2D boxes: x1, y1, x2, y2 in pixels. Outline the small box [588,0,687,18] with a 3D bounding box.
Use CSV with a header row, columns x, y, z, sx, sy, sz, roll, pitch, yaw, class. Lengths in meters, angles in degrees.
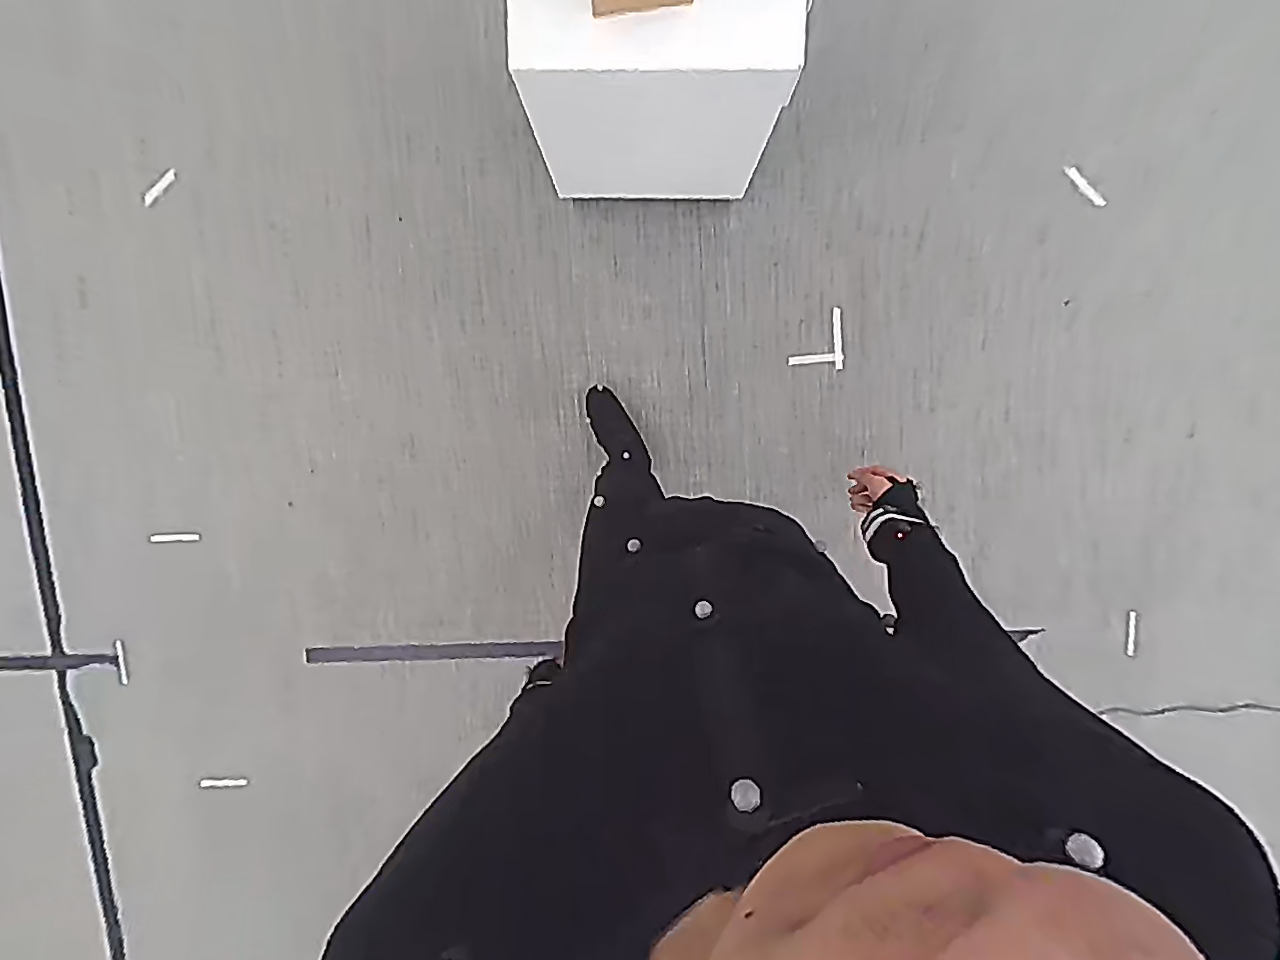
x,y,z,sx,sy,sz,roll,pitch,yaw,class
-0.009,-0.874,0.846,0.179,0.176,0.168,-7,96,0,small box
